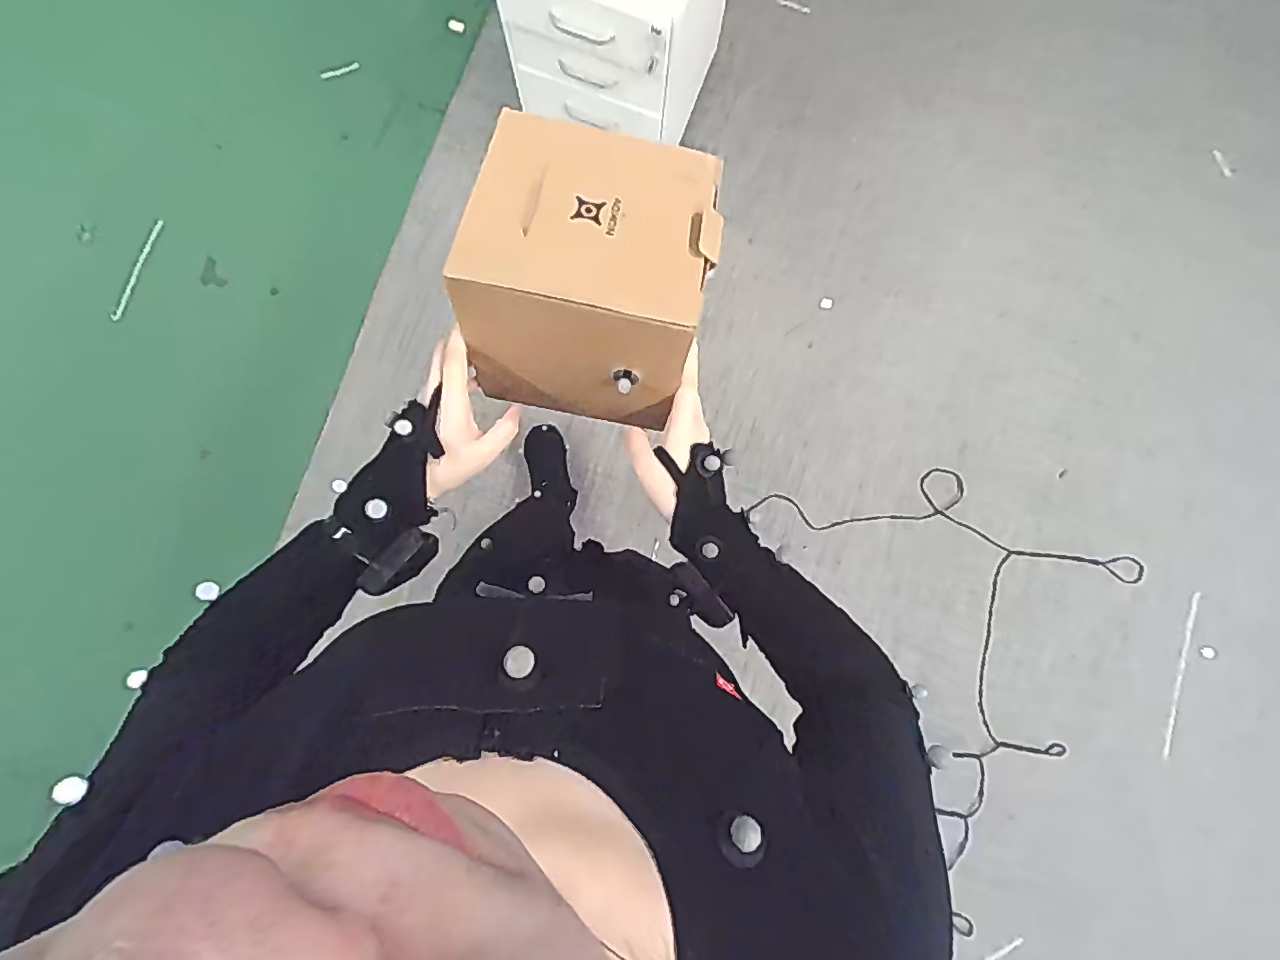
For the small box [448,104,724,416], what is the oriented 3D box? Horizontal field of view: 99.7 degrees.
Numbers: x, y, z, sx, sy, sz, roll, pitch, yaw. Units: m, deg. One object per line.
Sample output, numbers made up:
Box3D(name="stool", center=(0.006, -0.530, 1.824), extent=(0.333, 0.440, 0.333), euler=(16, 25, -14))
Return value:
Box3D(name="small box", center=(-0.040, -0.172, 0.467), extent=(0.179, 0.176, 0.168), euler=(10, 68, -2))
